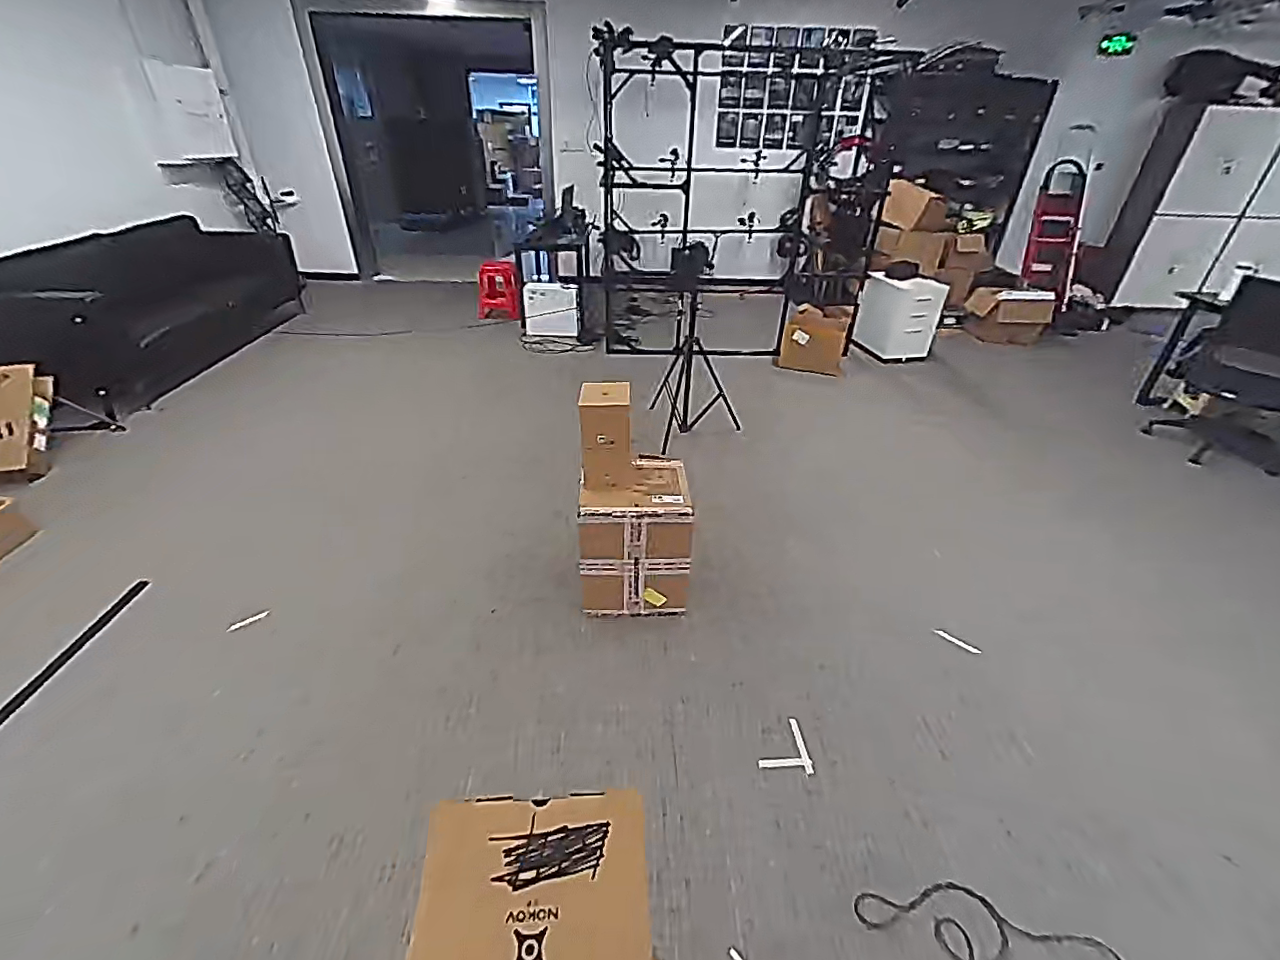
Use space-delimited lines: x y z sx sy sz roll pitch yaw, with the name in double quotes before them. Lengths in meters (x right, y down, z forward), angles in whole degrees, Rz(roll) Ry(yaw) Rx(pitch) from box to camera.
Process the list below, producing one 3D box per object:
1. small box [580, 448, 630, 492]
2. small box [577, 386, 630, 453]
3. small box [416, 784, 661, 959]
"small box" -0.123 -0.074 1.932 0.168 0.176 0.179 -1 35 -1
"small box" -0.121 -0.208 1.840 0.168 0.176 0.179 -2 35 0
"small box" -0.074 0.370 0.430 0.168 0.176 0.179 0 41 -5
